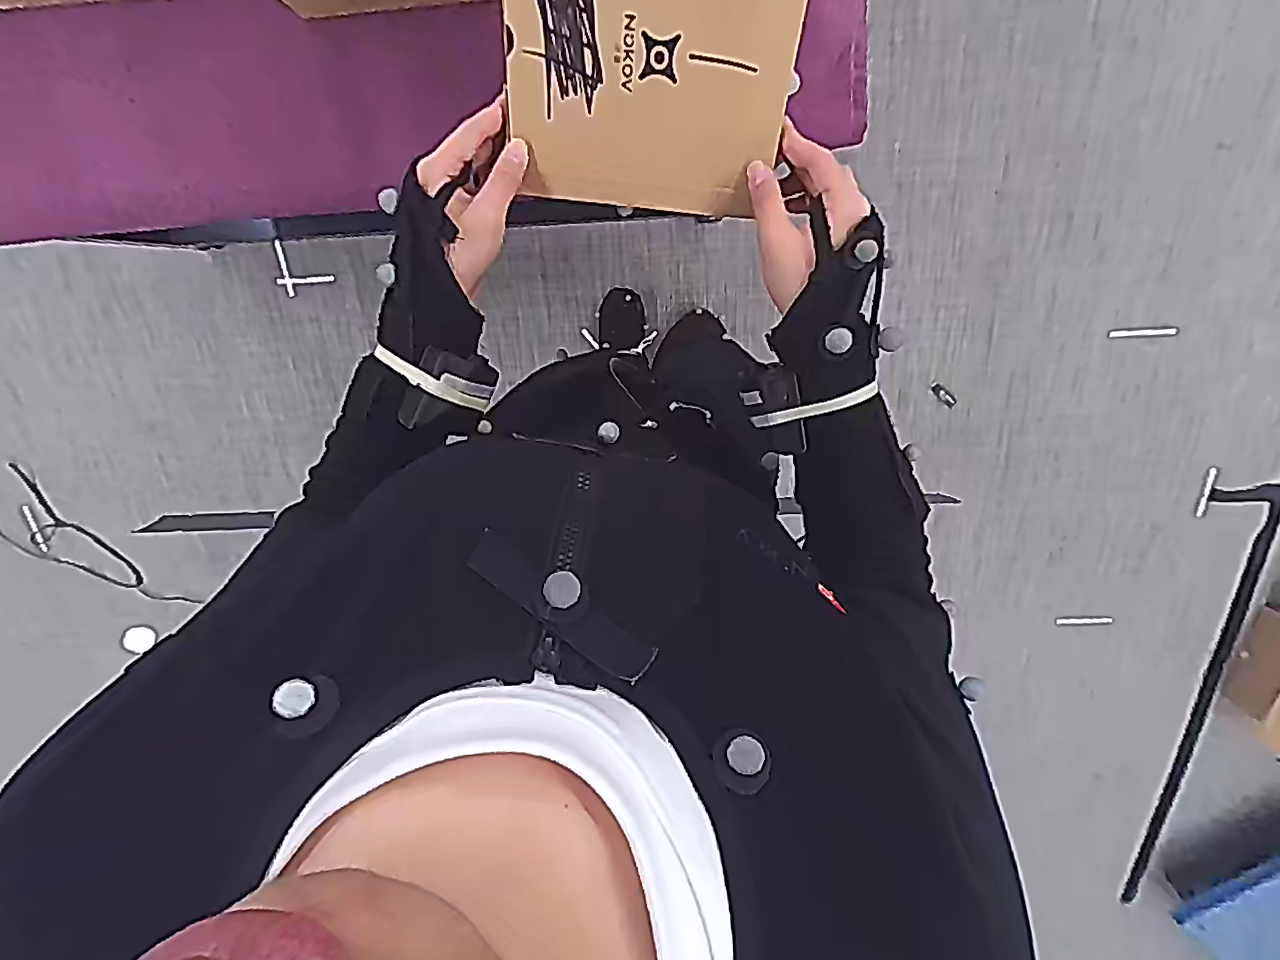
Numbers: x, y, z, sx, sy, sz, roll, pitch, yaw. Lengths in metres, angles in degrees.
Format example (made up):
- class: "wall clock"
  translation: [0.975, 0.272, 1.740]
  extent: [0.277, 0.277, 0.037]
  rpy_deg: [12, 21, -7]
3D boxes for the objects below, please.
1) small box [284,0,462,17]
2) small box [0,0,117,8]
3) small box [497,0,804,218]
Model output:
- class: "small box"
  translation: [-0.221, -0.464, 0.375]
  extent: [0.179, 0.176, 0.168]
  rpy_deg: [-4, 108, 2]
- class: "small box"
  translation: [-0.499, -0.473, 0.380]
  extent: [0.179, 0.176, 0.168]
  rpy_deg: [-3, 110, 2]
- class: "small box"
  translation: [0.011, -0.296, 0.378]
  extent: [0.179, 0.176, 0.168]
  rpy_deg: [8, 127, 2]
